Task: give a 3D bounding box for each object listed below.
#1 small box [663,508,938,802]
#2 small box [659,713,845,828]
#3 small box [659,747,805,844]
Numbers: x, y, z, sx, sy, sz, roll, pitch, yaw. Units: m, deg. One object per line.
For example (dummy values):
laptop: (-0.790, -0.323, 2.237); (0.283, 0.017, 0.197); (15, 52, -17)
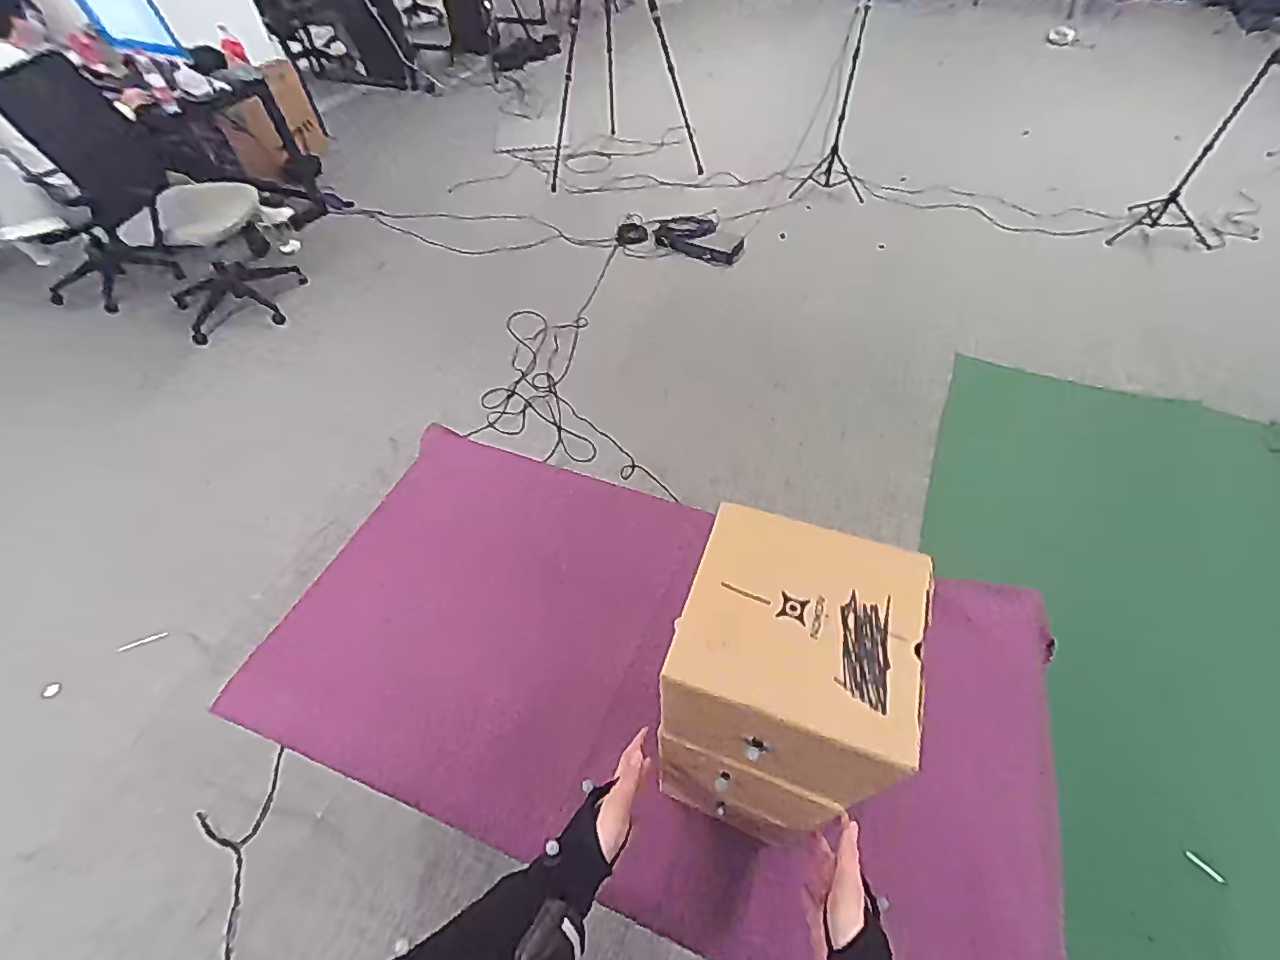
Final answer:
small box: (0.129, 0.155, 0.468); (0.179, 0.176, 0.168); (16, 54, 15)
small box: (0.132, 0.258, 0.597); (0.179, 0.176, 0.168); (17, 55, 16)
small box: (0.135, 0.360, 0.724); (0.179, 0.176, 0.168); (19, 55, 16)
